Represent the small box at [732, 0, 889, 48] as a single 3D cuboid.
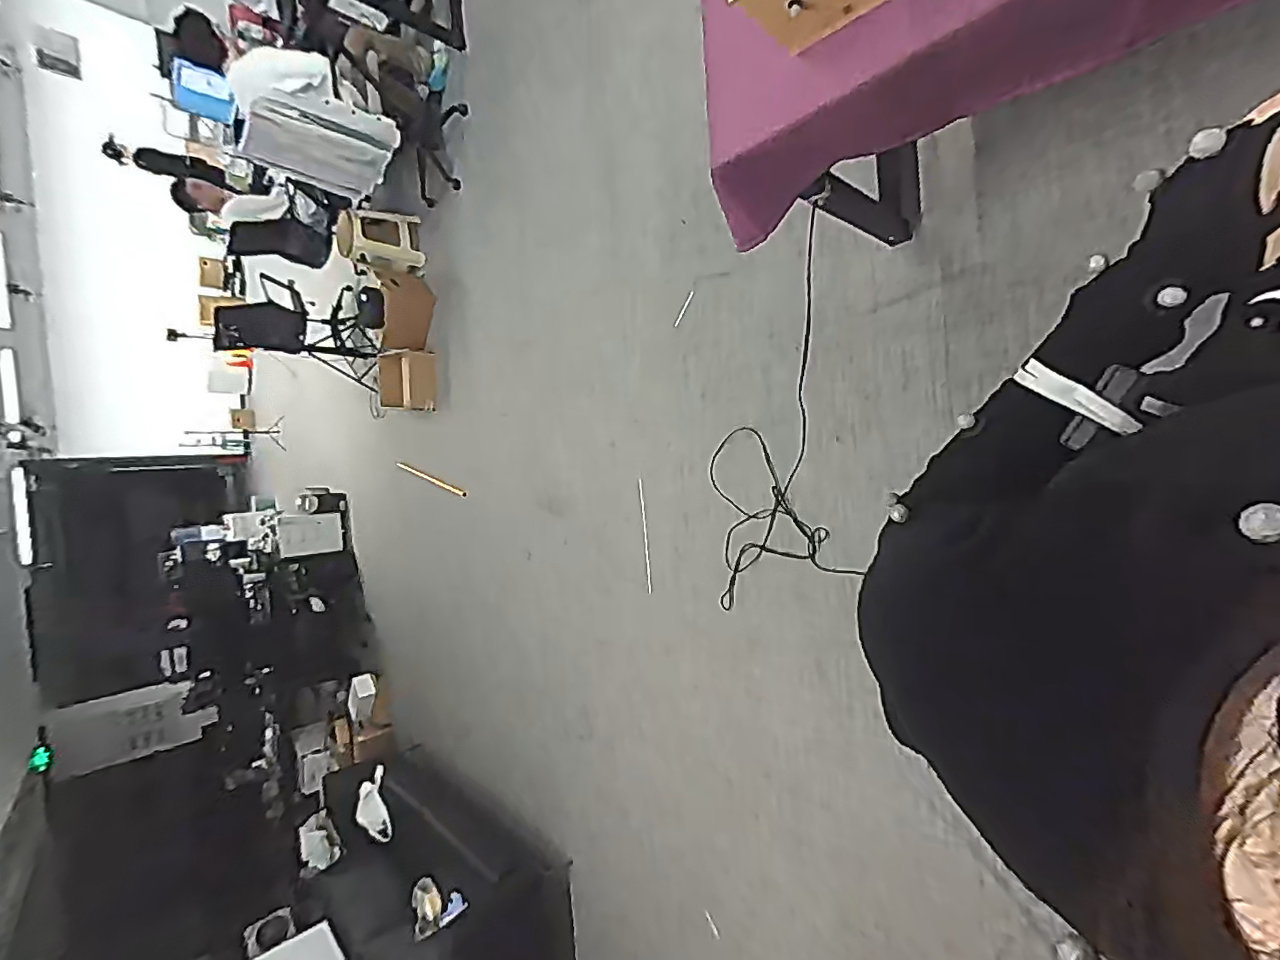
[{"bbox_3d":[0.242,-0.743,0.740,0.168,0.176,0.179,4,95,47],"label":"small box"}]
